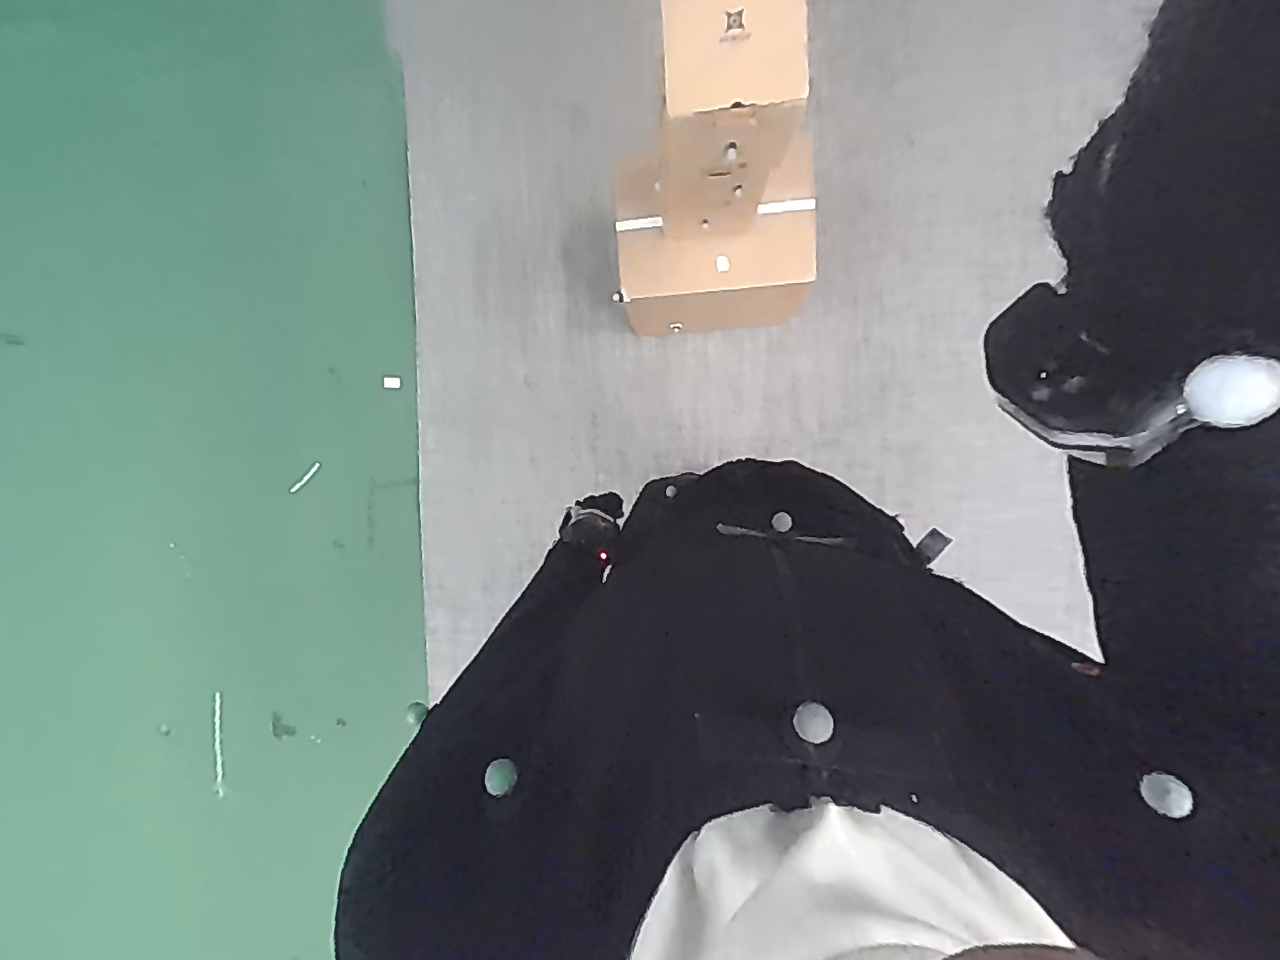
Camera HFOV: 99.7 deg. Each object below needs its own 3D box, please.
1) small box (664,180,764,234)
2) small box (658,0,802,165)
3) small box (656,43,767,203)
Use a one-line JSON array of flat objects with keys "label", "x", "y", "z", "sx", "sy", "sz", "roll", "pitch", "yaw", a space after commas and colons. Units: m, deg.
[{"label": "small box", "x": 0.133, "y": -0.584, "z": 1.026, "sx": 0.179, "sy": 0.176, "sz": 0.168, "roll": -4, "pitch": 98, "yaw": 6}, {"label": "small box", "x": 0.113, "y": -0.535, "z": 0.705, "sx": 0.168, "sy": 0.176, "sz": 0.179, "roll": -3, "pitch": 98, "yaw": 6}, {"label": "small box", "x": 0.116, "y": -0.563, "z": 0.866, "sx": 0.168, "sy": 0.176, "sz": 0.179, "roll": -3, "pitch": 96, "yaw": 5}]
